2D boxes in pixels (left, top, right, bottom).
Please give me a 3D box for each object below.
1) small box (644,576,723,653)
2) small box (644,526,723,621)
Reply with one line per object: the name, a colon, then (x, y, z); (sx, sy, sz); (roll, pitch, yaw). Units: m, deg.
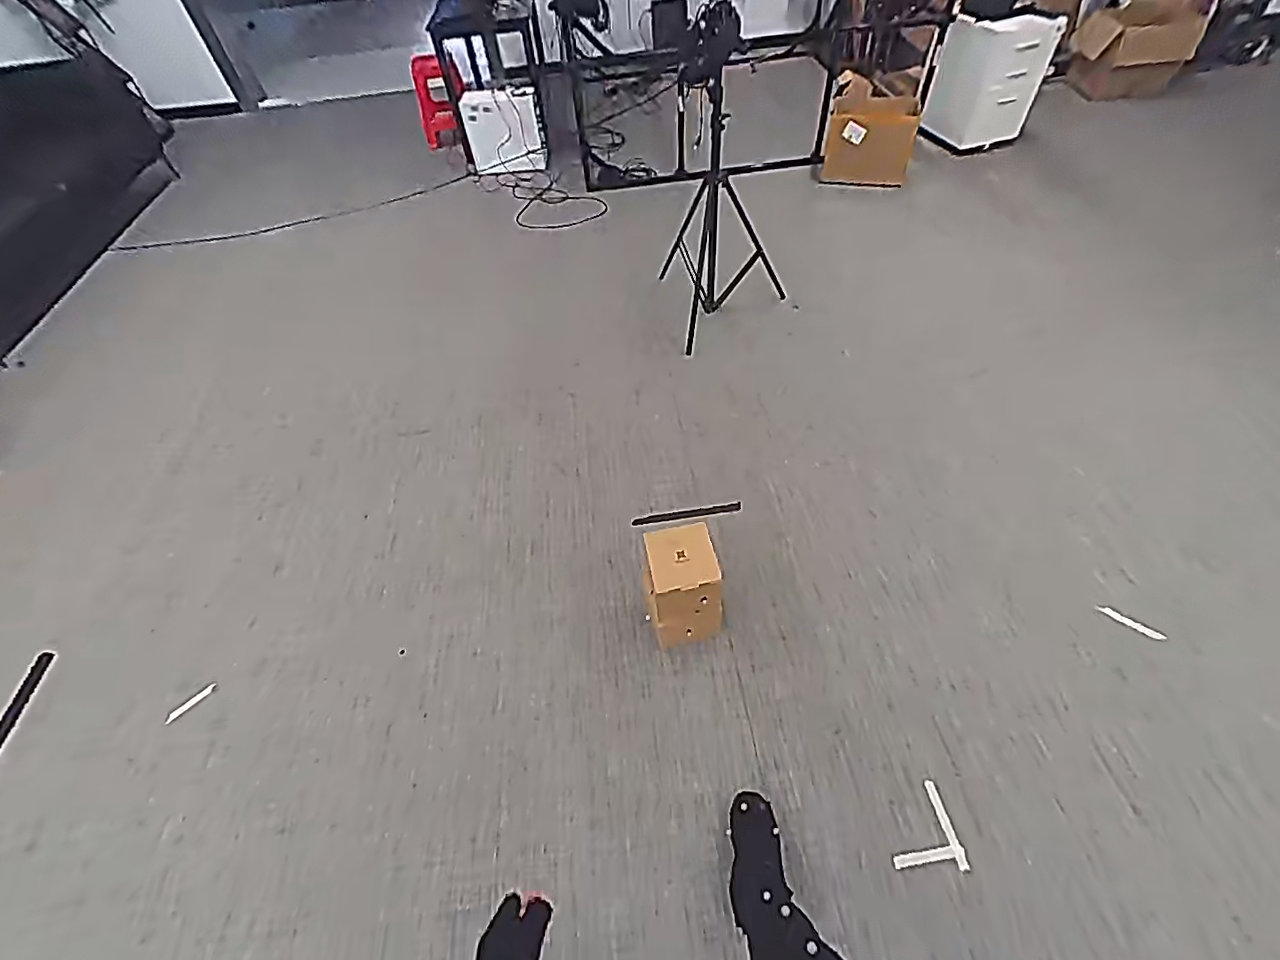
small box: (0.119, 0.357, 1.501); (0.179, 0.176, 0.168); (-14, 51, -5)
small box: (0.109, 0.245, 1.383); (0.168, 0.176, 0.179); (-10, 50, -4)
